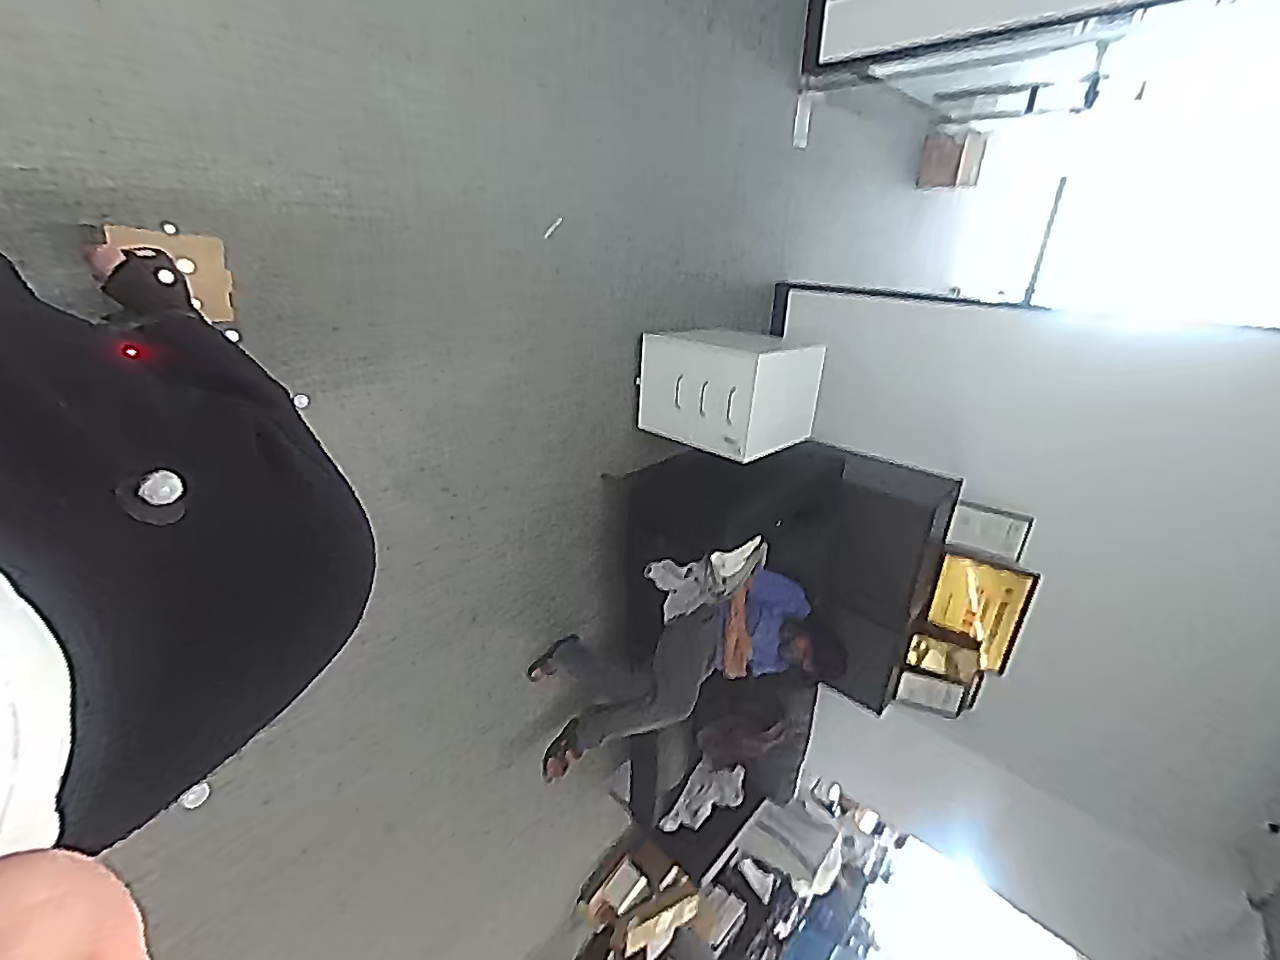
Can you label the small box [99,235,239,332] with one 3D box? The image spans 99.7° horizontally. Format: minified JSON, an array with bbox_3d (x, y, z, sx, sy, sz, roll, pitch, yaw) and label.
[{"bbox_3d":[-0.953,-0.398,1.098,0.179,0.176,0.168,-15,119,-46],"label":"small box"}]
